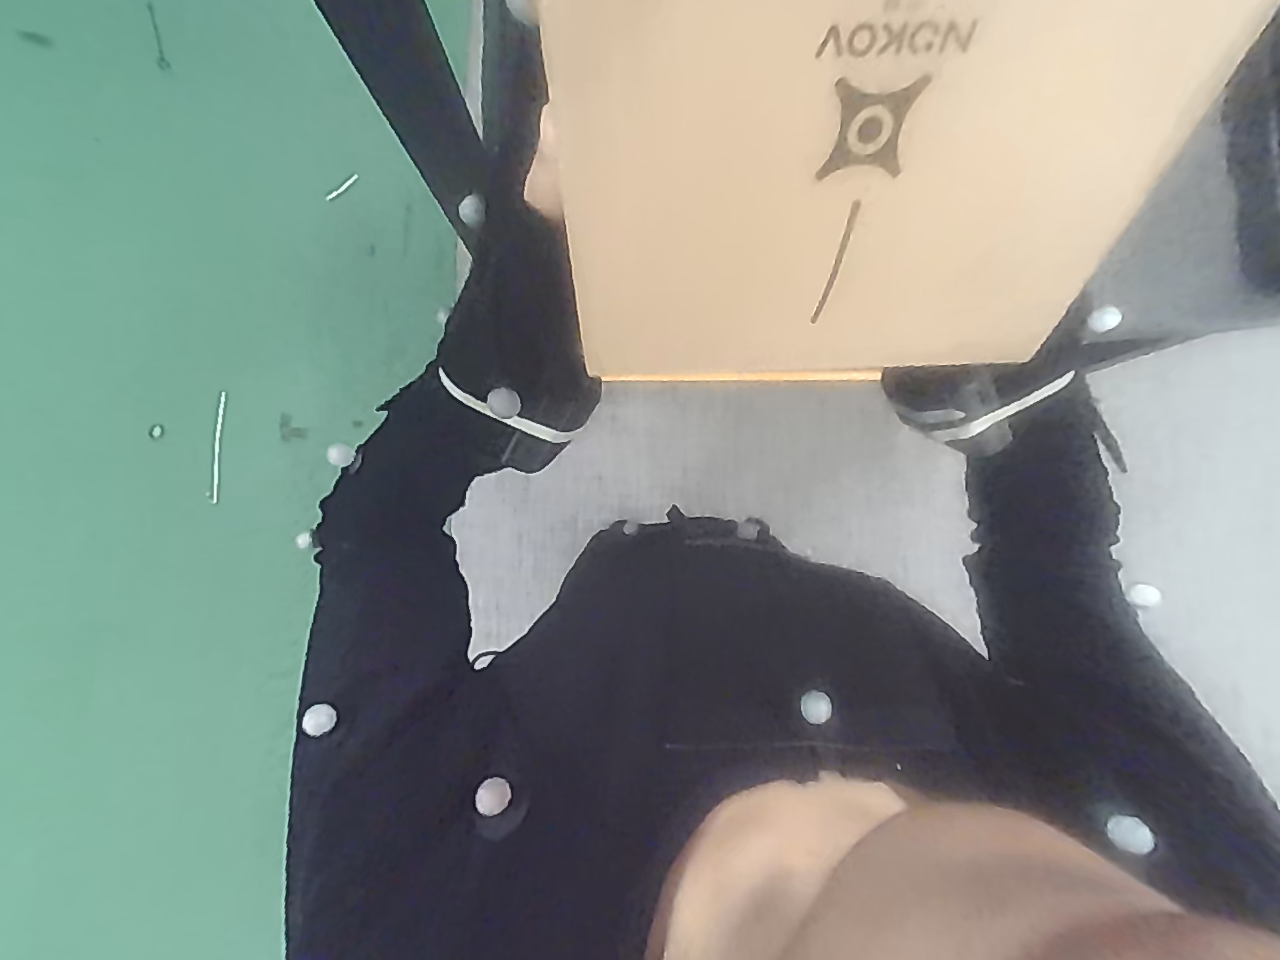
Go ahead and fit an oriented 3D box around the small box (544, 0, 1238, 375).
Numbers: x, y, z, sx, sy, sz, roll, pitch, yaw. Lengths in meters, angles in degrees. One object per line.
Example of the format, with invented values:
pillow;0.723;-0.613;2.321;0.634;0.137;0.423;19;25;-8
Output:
small box;0.056;-0.160;0.192;0.168;0.179;0.176;-1;51;0
